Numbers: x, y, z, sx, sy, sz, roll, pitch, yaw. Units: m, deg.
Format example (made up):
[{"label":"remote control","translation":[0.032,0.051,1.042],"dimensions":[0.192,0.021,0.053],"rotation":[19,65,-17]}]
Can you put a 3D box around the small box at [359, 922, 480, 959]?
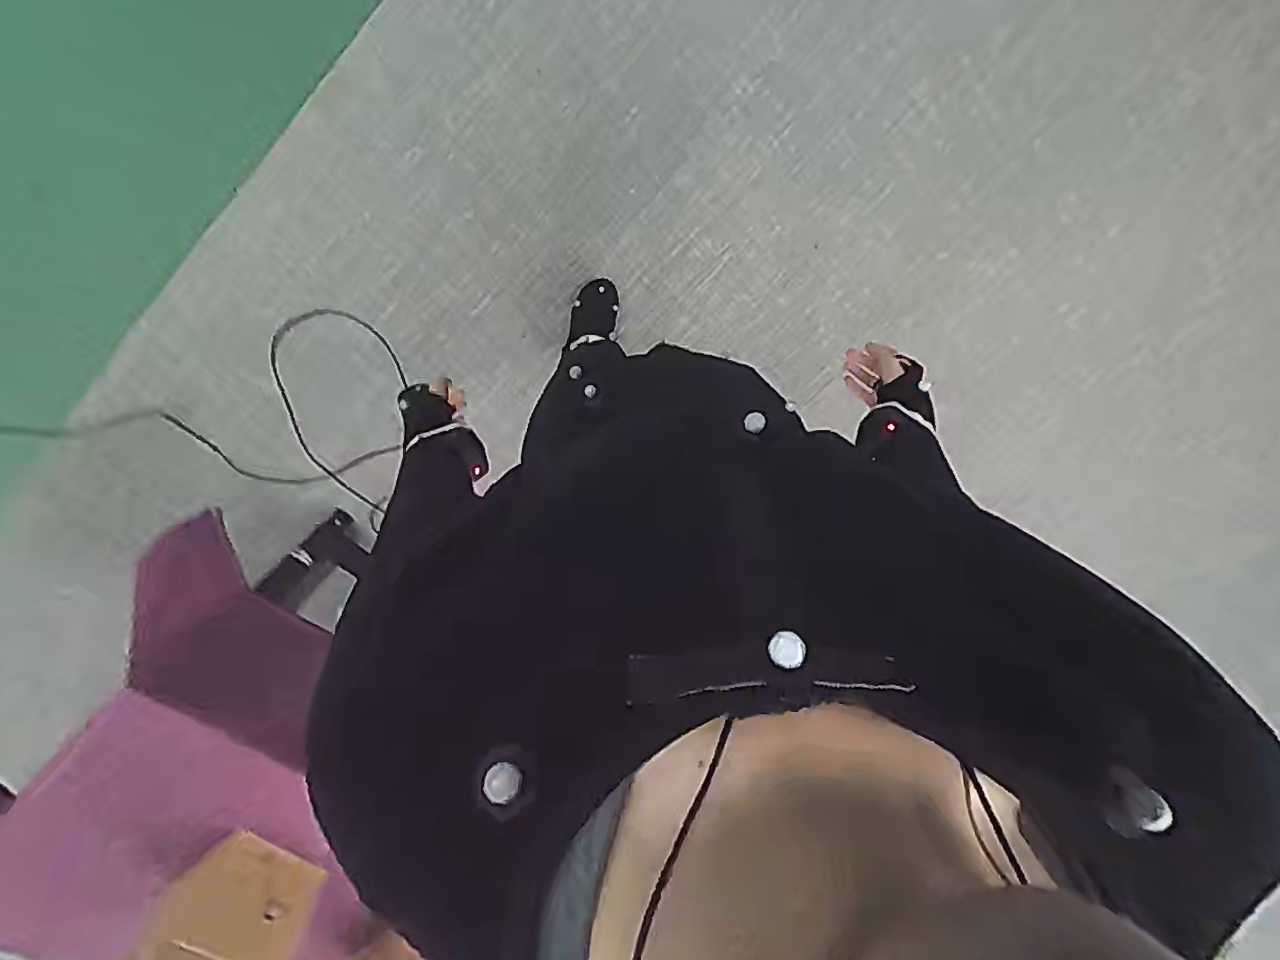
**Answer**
[{"label":"small box","translation":[-0.405,0.916,0.933],"dimensions":[0.168,0.176,0.179],"rotation":[-44,109,9]}]

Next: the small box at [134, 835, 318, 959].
[{"label":"small box","translation":[-0.635,0.696,0.828],"dimensions":[0.179,0.176,0.168],"rotation":[-42,109,9]}]
